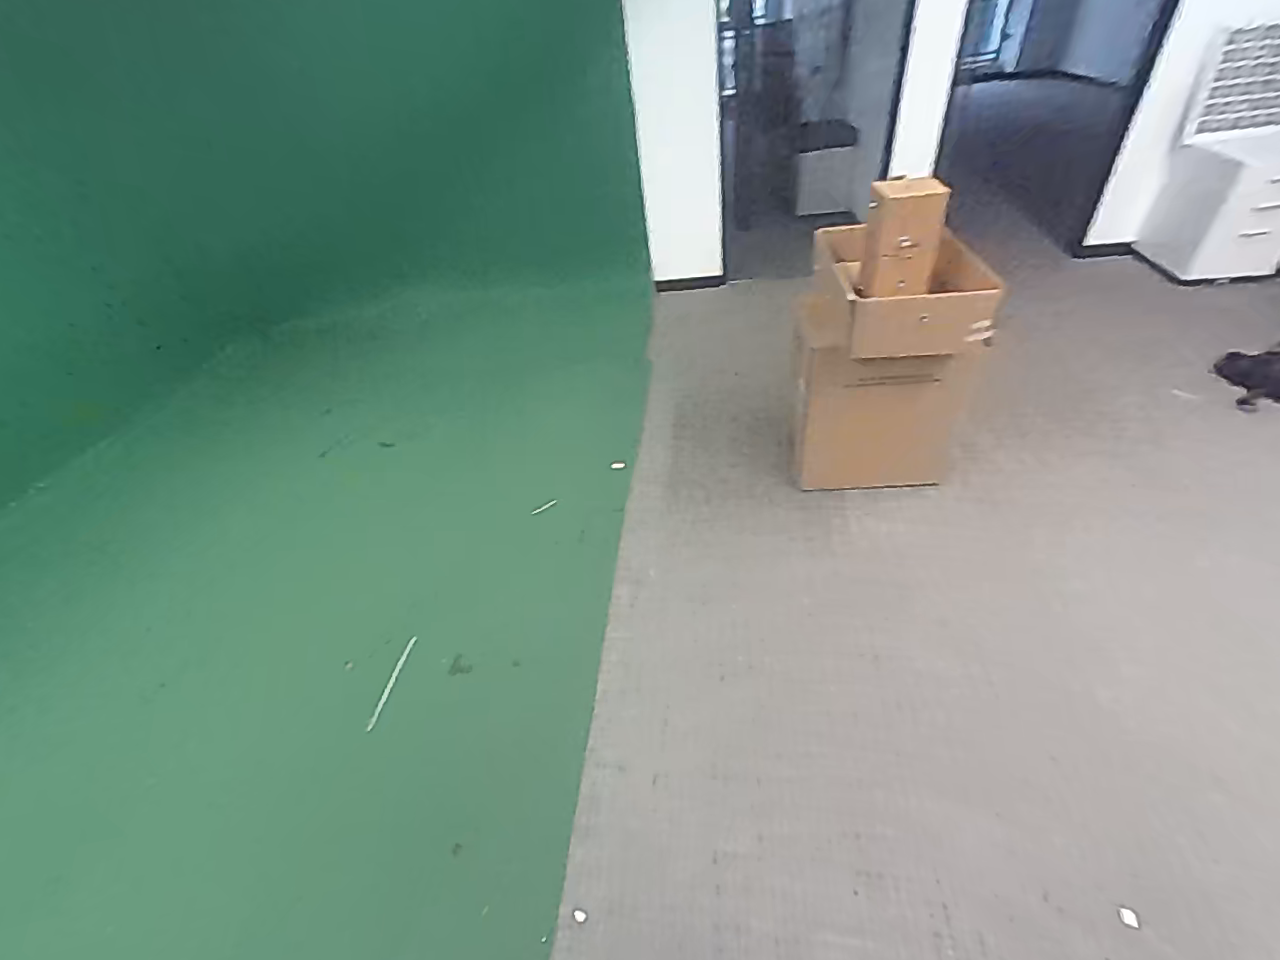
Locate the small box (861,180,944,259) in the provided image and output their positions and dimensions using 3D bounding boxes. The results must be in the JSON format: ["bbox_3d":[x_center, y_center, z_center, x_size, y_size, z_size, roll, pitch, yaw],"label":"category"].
[{"bbox_3d":[0.778,-0.781,1.625,0.168,0.176,0.179,-4,42,6],"label":"small box"}]
